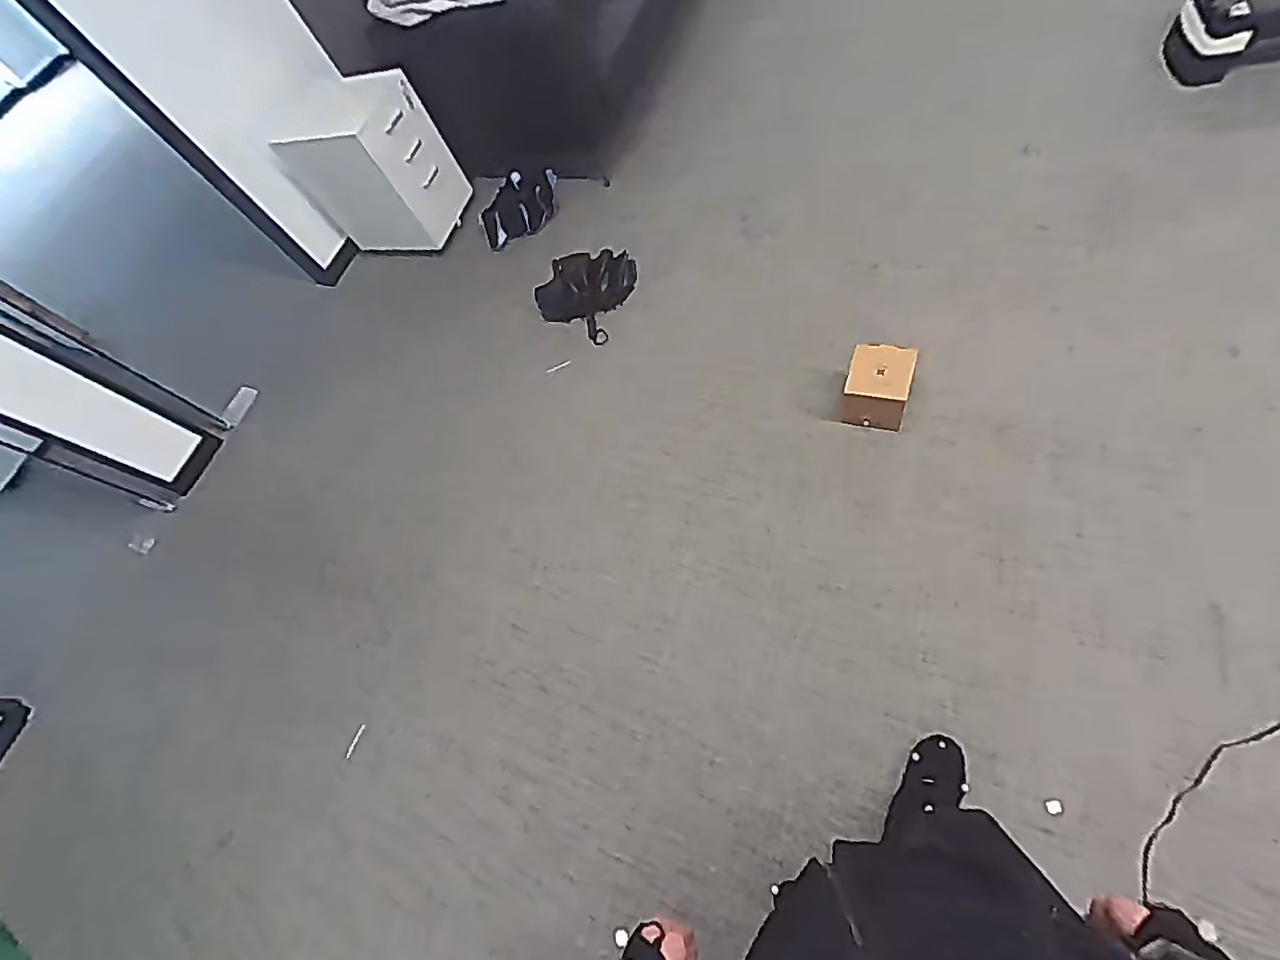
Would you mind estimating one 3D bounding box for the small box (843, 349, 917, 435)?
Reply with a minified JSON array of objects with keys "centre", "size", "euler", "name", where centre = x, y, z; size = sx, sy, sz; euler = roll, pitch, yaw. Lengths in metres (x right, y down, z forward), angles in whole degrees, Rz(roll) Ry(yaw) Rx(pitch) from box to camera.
[{"centre":[0.696,-0.255,1.581],"size":[0.168,0.176,0.179],"euler":[12,70,24],"name":"small box"}]
